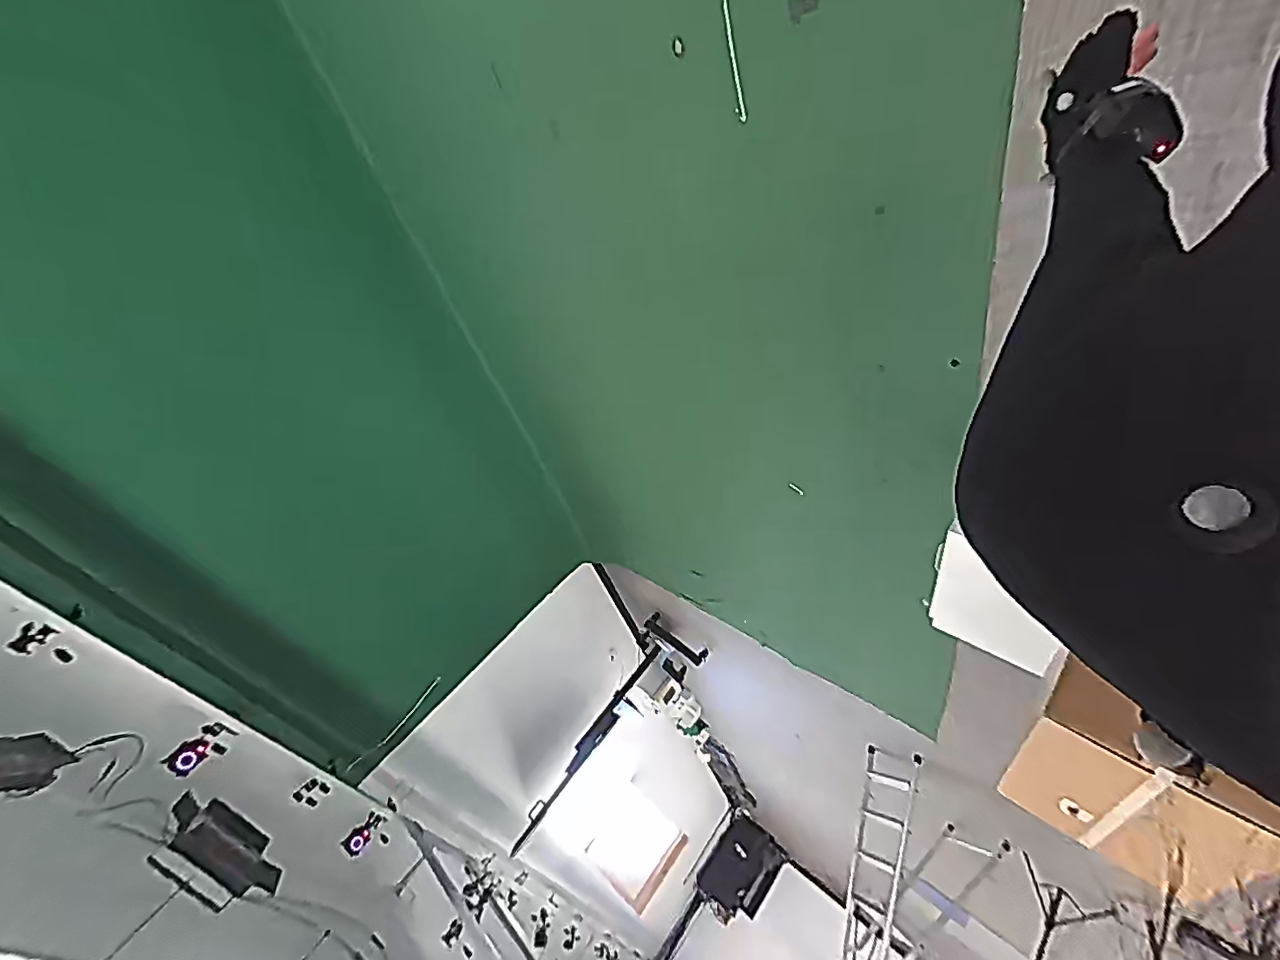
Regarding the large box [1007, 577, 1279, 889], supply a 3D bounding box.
[{"bbox_3d":[0.935,0.454,0.994,0.320,0.320,0.408,25,149,38],"label":"large box"}]
